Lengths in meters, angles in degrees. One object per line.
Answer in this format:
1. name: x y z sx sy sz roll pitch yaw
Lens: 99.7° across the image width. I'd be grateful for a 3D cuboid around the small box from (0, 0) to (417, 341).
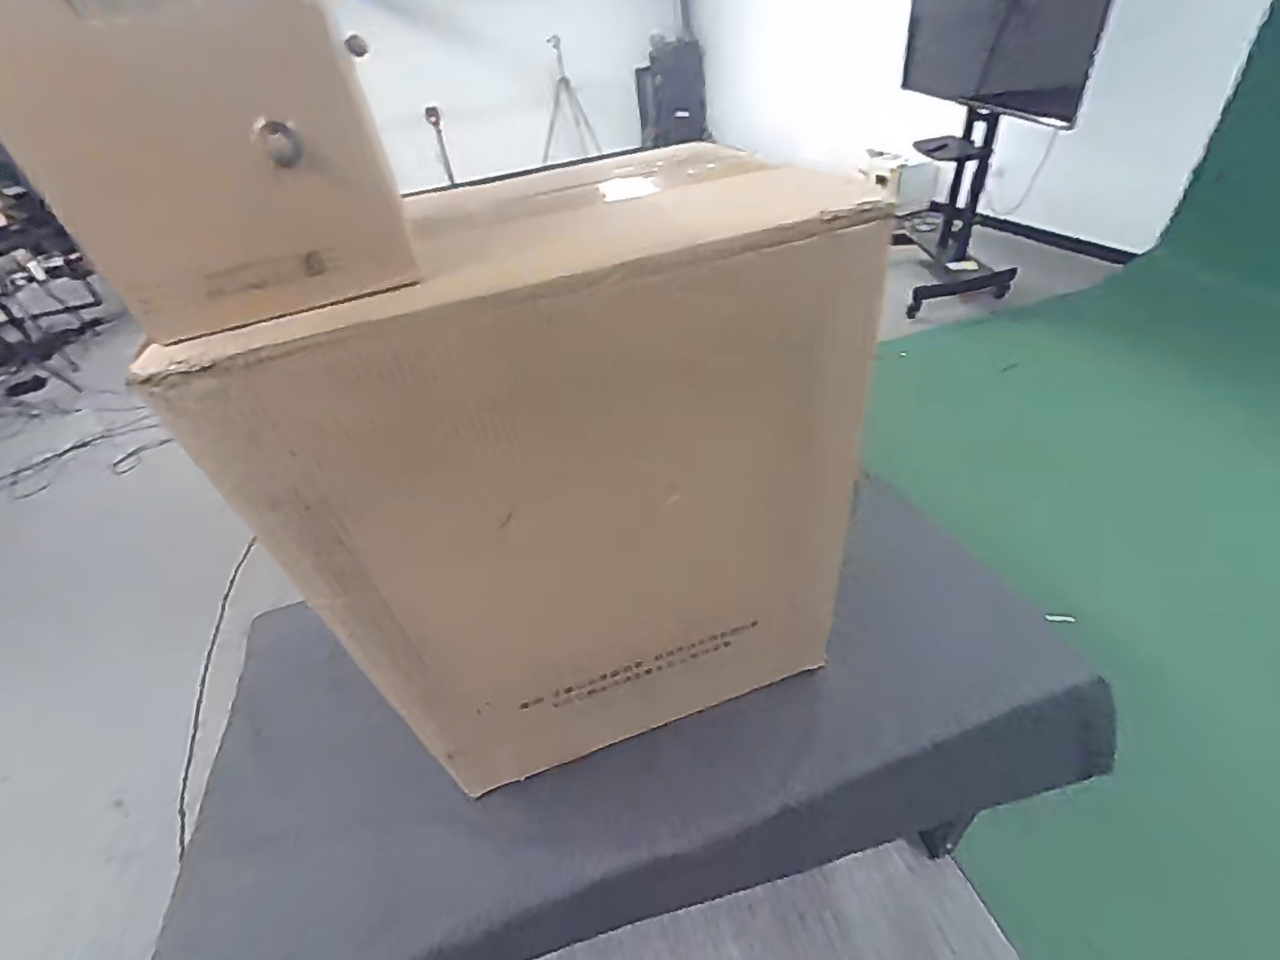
1. small box: -0.262 -0.209 0.362 0.168 0.176 0.179 -19 41 -12
